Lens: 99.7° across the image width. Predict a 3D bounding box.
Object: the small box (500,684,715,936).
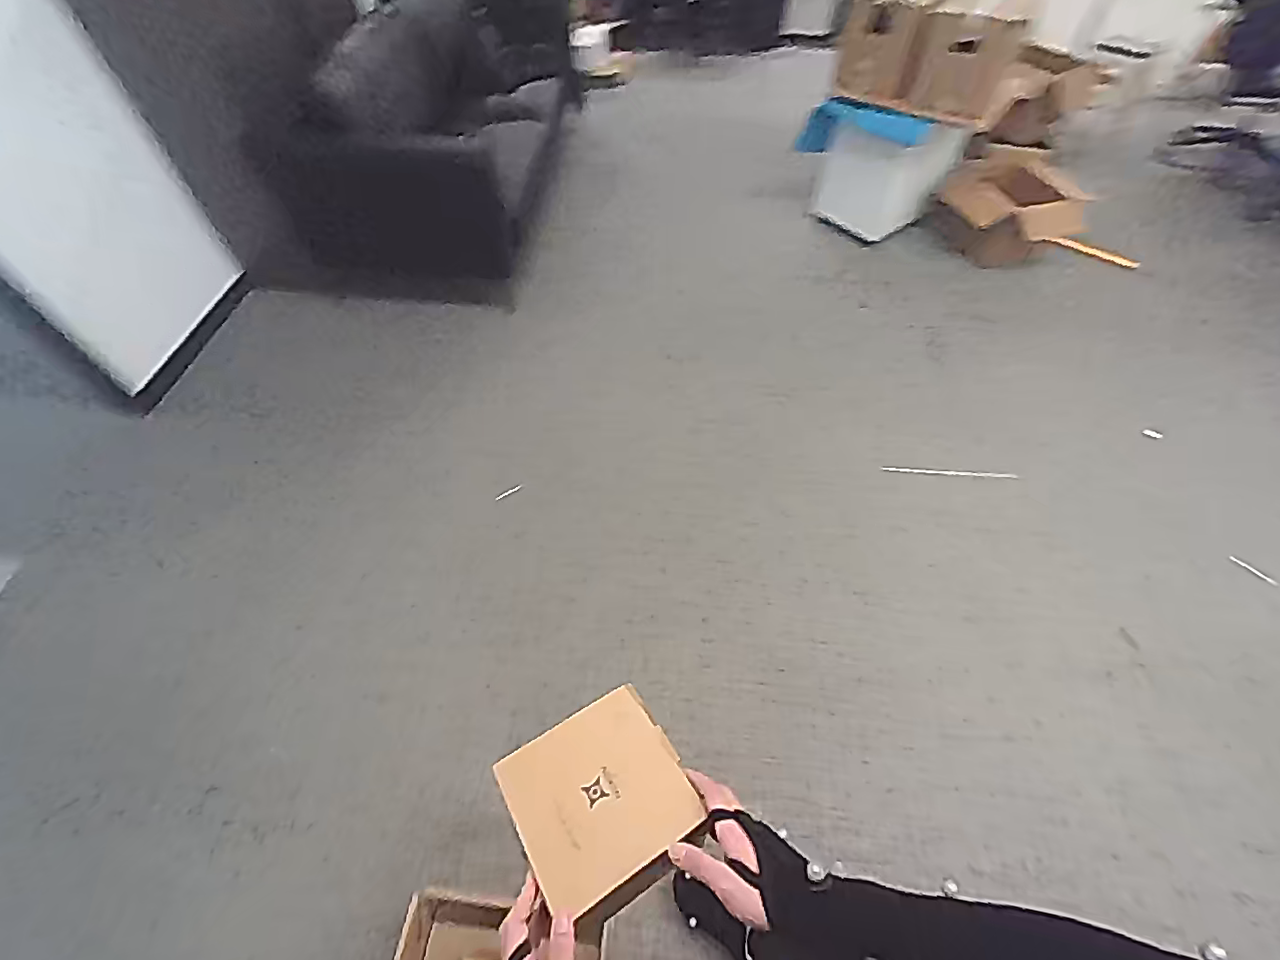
[{"bbox_3d":[-0.036,0.374,0.617,0.179,0.176,0.168,-24,50,-19],"label":"small box"}]
